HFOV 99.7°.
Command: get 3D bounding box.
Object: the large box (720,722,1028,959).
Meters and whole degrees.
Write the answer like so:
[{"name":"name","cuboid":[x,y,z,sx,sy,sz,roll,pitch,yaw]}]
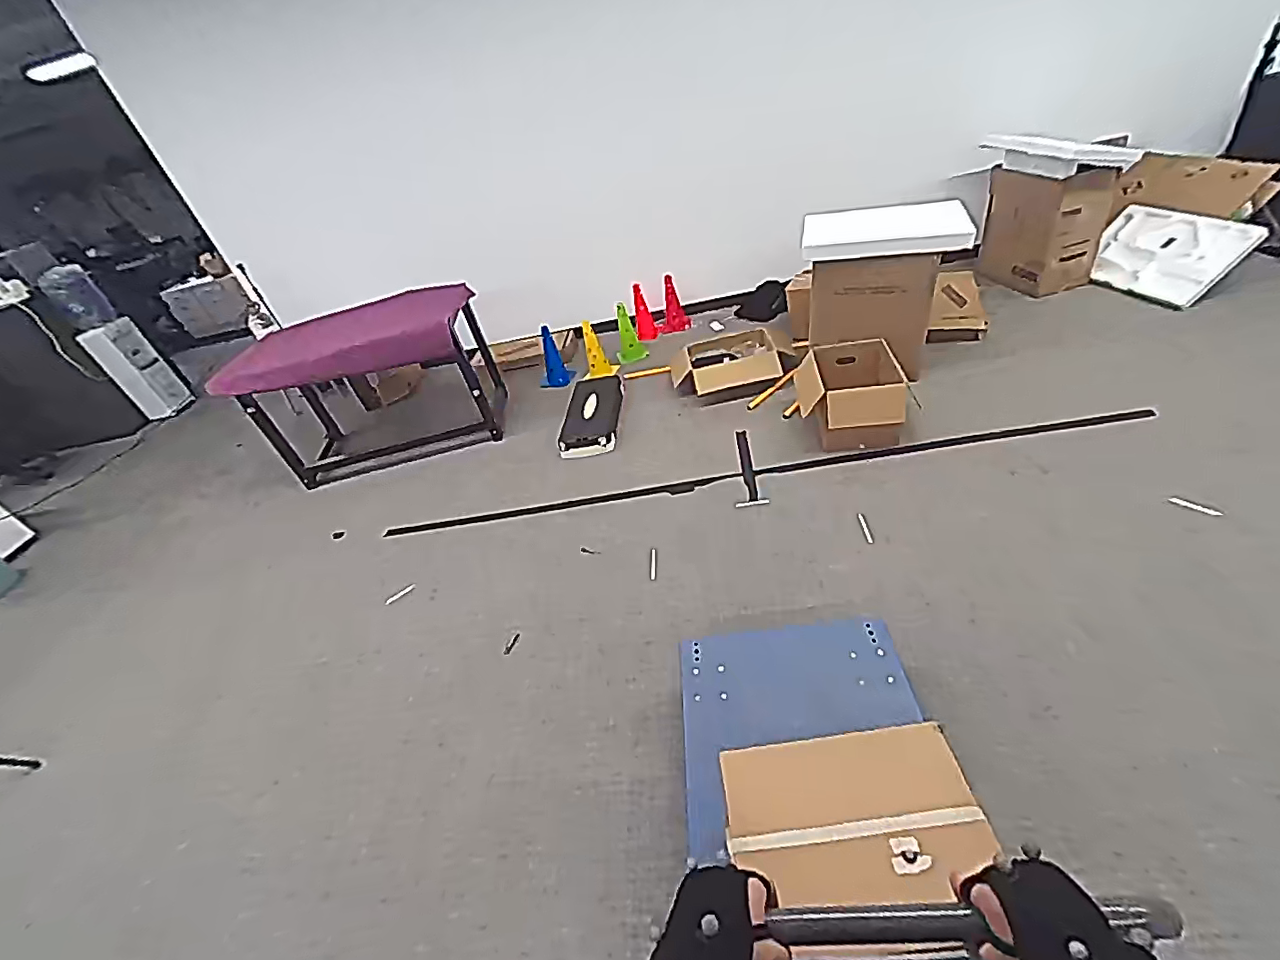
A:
[{"name":"large box","cuboid":[0.381,0.695,0.988,0.408,0.320,0.320,-10,38,5]}]
